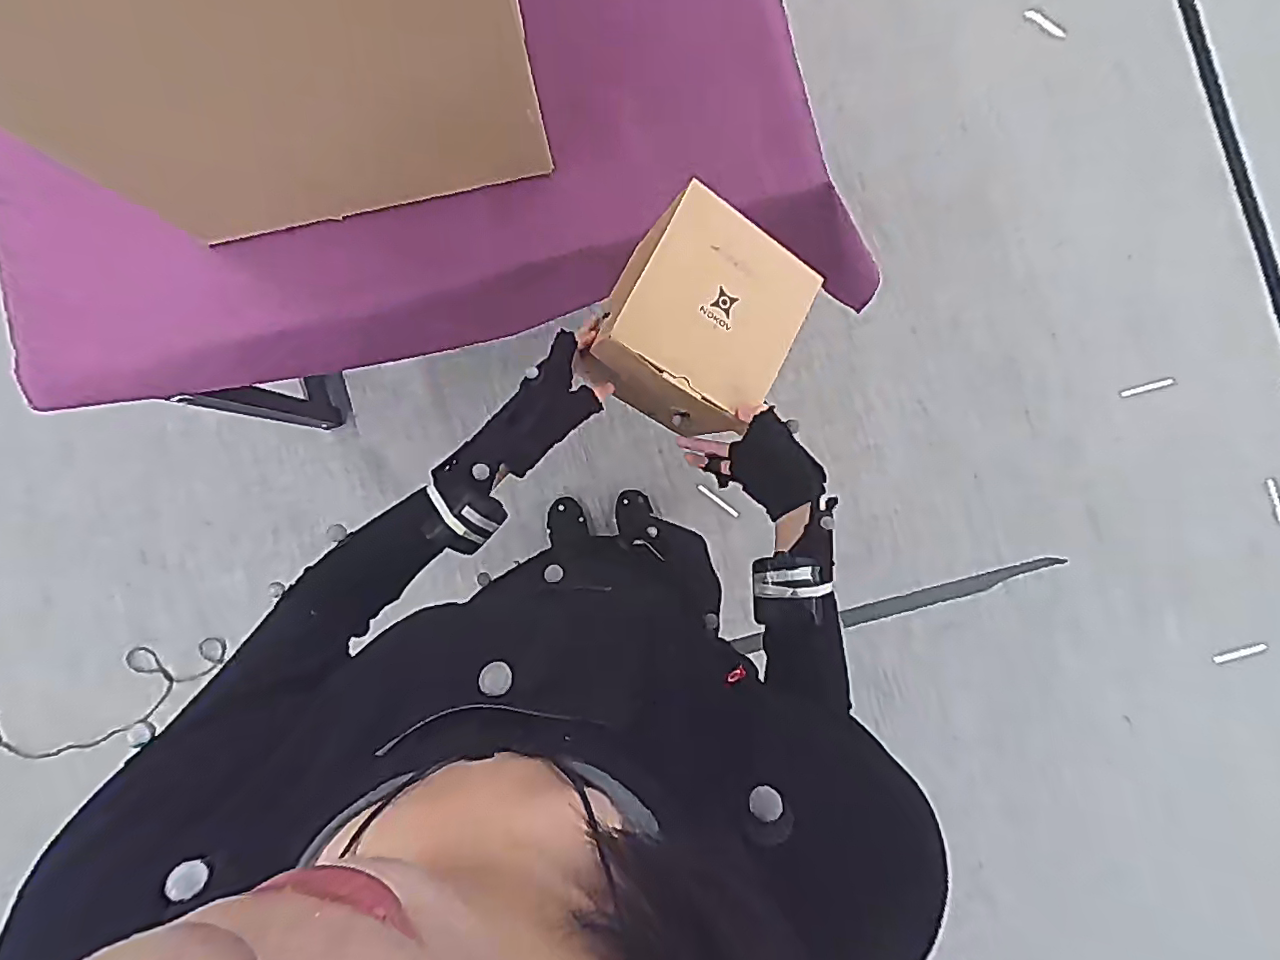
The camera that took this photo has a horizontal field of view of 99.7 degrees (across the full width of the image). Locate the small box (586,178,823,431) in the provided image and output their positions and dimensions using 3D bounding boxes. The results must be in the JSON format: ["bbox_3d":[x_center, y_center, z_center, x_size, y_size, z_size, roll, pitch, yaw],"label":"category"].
[{"bbox_3d":[0.055,-0.167,0.586,0.168,0.176,0.179,28,80,-17],"label":"small box"}]
